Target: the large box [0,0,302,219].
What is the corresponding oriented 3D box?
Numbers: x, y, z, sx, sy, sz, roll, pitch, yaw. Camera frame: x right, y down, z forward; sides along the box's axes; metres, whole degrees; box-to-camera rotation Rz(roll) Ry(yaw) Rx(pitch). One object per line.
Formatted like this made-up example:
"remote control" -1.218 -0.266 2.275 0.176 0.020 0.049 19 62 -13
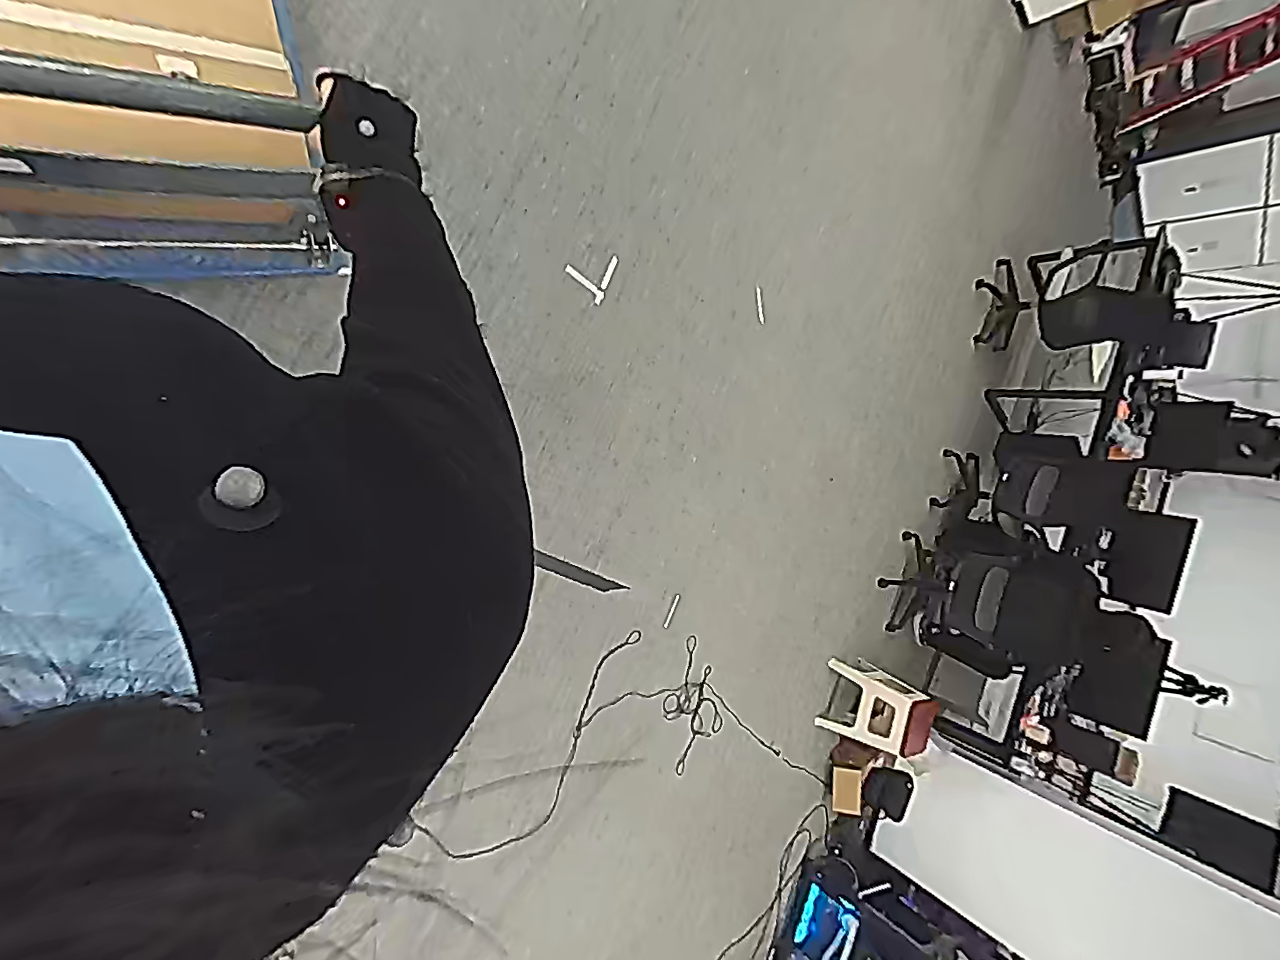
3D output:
"large box" -0.790 -0.590 0.796 0.408 0.320 0.320 -18 110 -38
